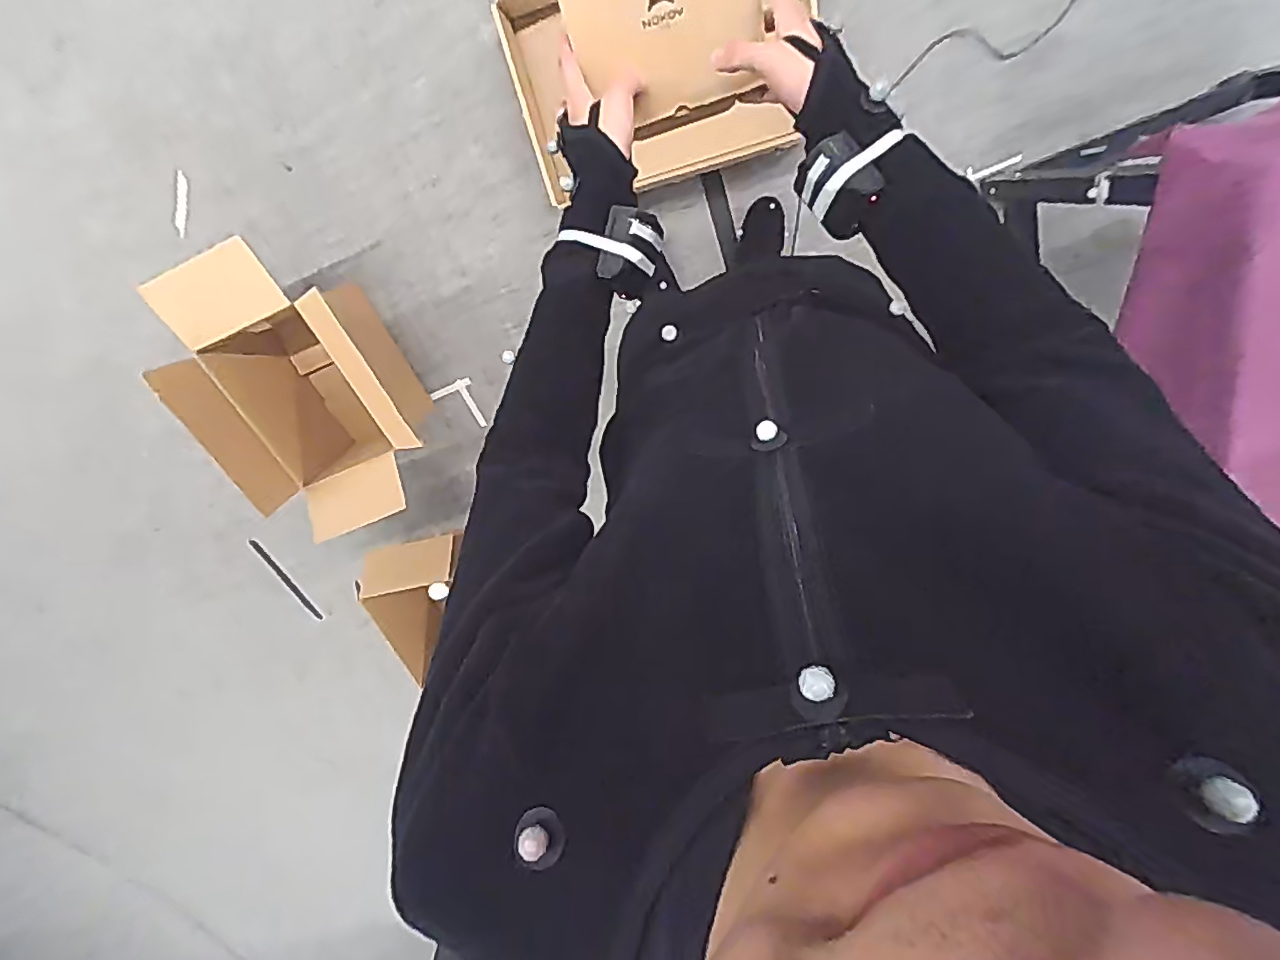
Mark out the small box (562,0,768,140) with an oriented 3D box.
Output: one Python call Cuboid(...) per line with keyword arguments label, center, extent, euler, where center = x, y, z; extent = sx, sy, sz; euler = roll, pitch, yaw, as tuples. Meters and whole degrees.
Cuboid(label="small box", center=(0.017, -0.457, 0.506), extent=(0.168, 0.176, 0.179), euler=(-13, 132, 9))
